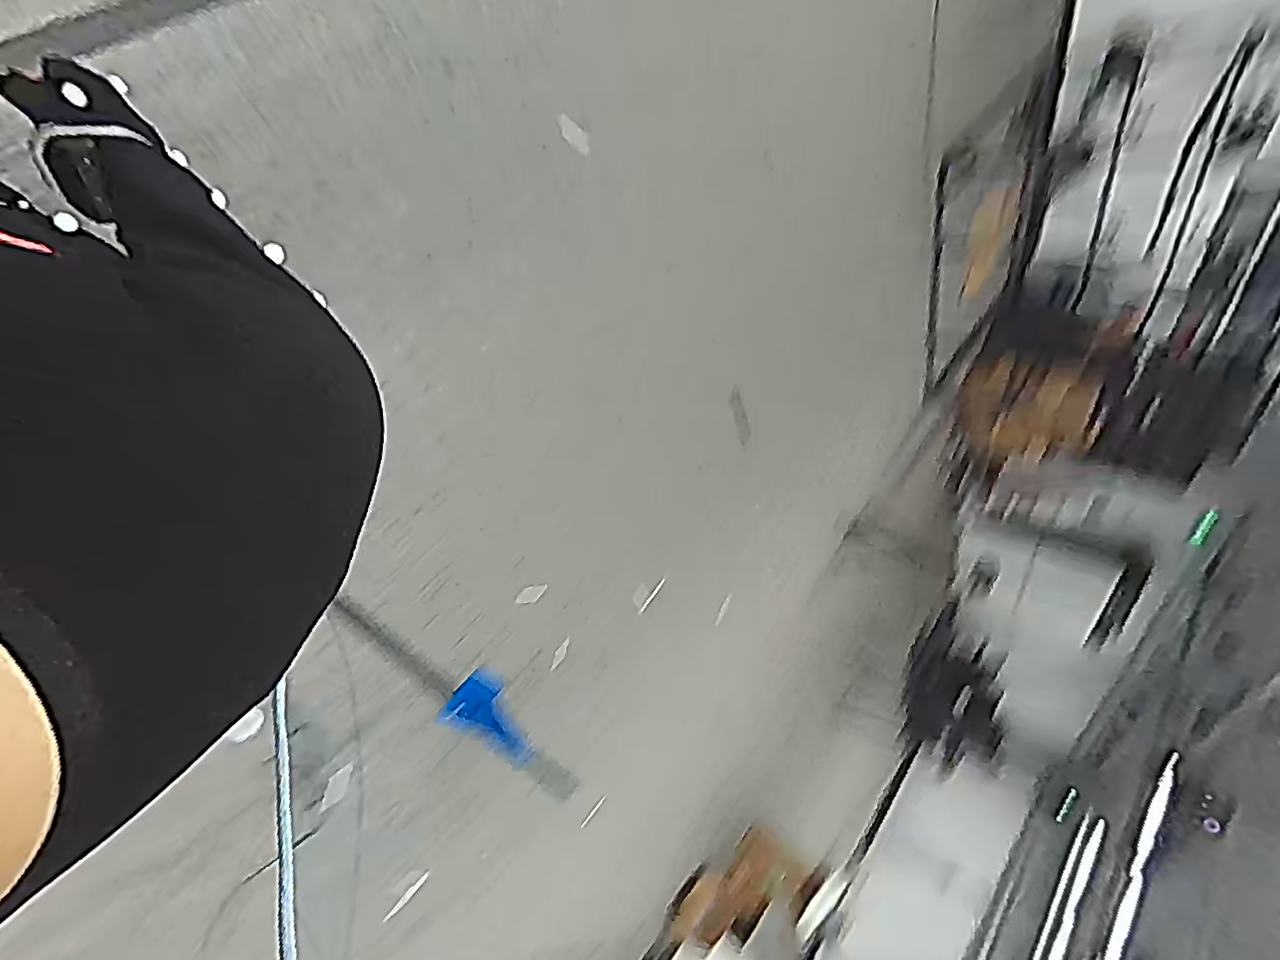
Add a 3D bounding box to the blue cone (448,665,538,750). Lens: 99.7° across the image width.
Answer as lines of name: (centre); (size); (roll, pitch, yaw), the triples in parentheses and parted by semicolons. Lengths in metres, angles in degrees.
blue cone: (-0.503, 0.859, 1.953); (0.192, 0.380, 0.193); (-51, 139, -21)
